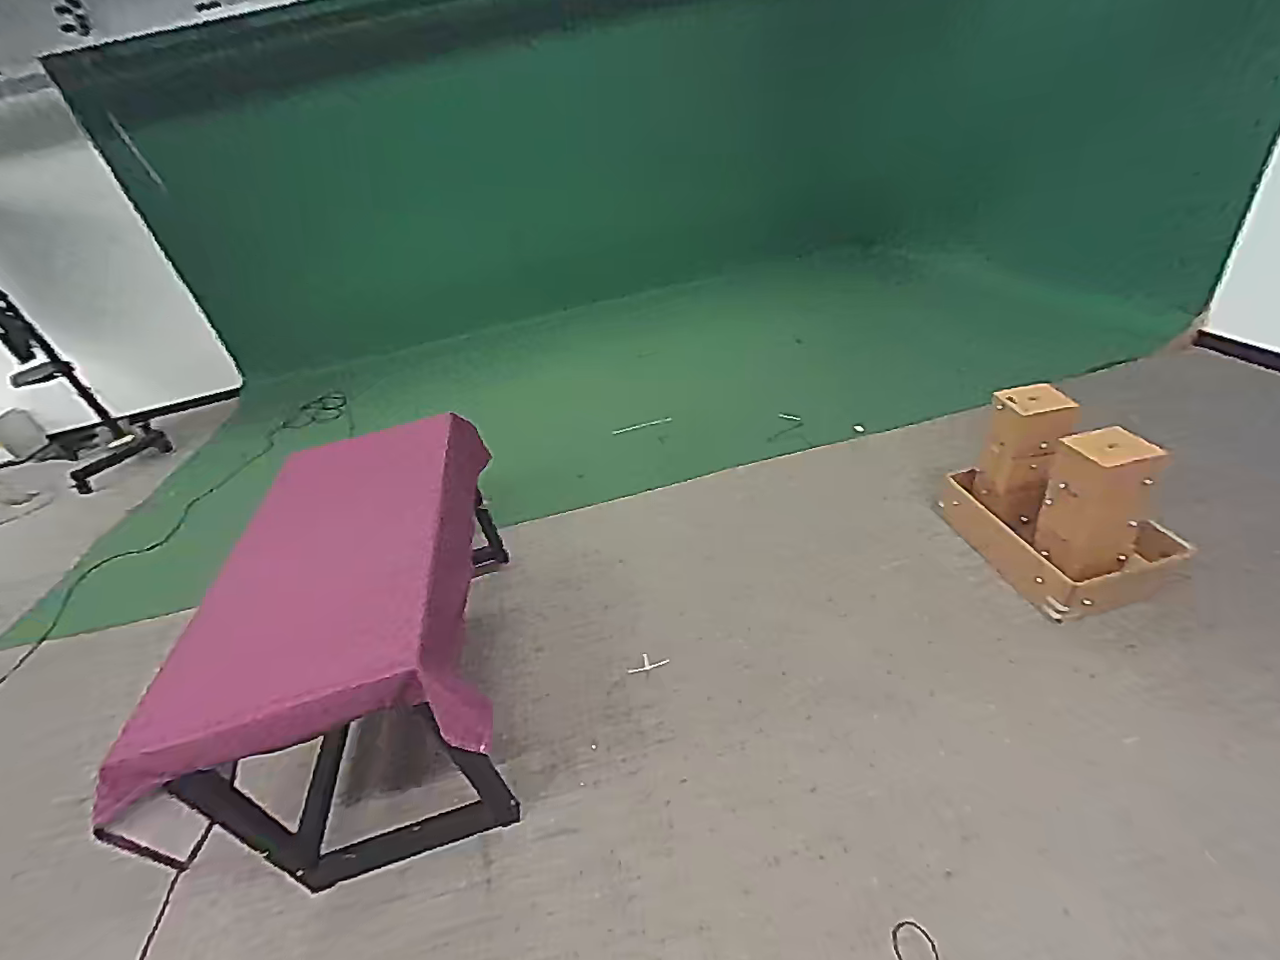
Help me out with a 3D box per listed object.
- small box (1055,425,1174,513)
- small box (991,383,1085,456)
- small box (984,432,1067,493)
[{"bbox_3d":[1.341,-0.030,1.545,0.179,0.176,0.168,-13,33,0],"label":"small box"},{"bbox_3d":[1.305,-0.198,1.789,0.179,0.176,0.168,-9,34,4],"label":"small box"},{"bbox_3d":[1.337,-0.071,1.890,0.179,0.176,0.168,-10,35,3],"label":"small box"}]
